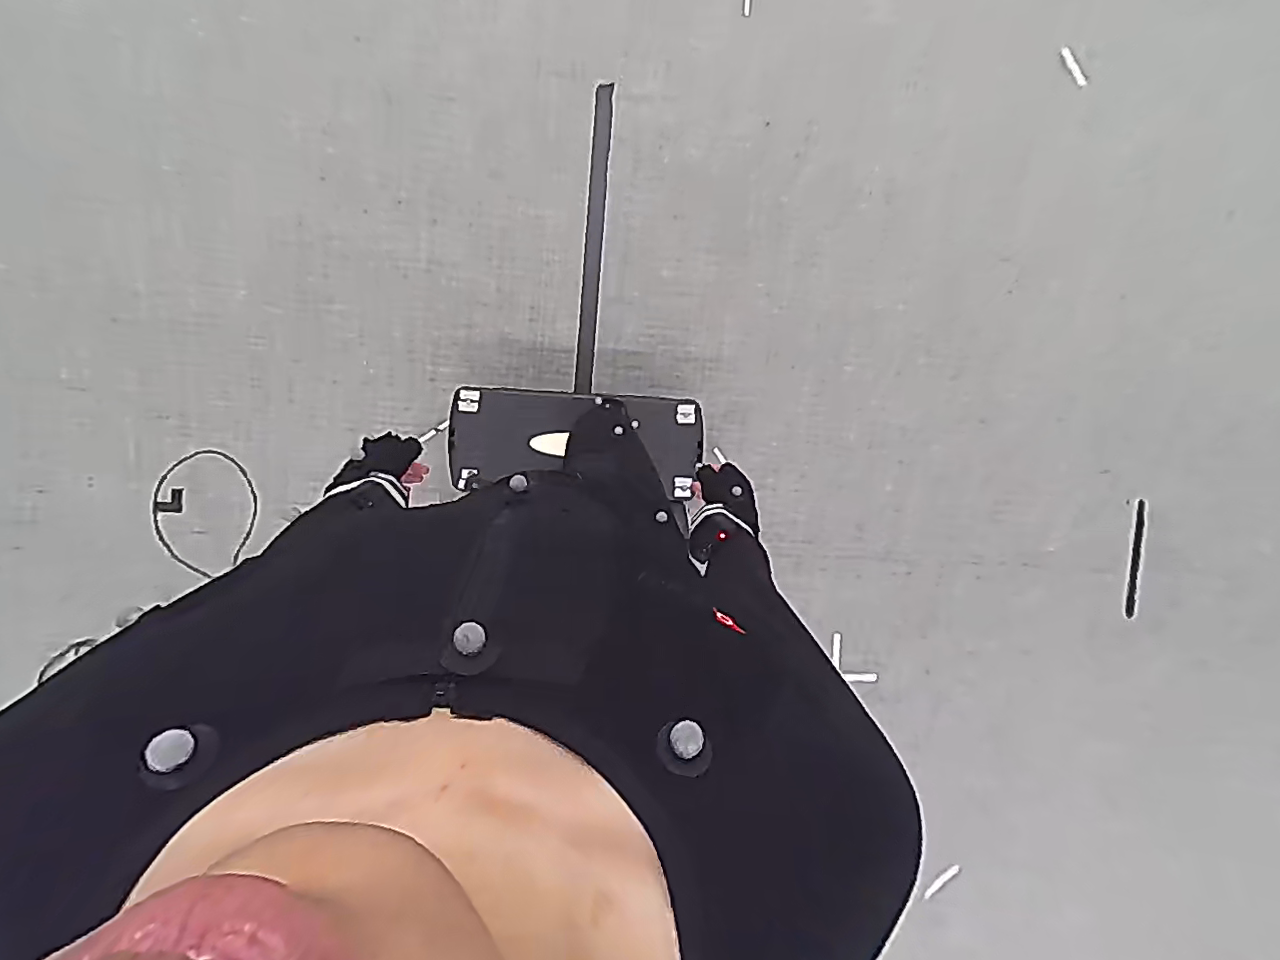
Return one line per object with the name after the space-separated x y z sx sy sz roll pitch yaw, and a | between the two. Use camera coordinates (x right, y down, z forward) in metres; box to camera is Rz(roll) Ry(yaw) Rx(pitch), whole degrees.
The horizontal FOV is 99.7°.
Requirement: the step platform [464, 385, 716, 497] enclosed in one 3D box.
-0.133 -0.106 1.509 0.684 0.204 0.286 2 95 -6 | step platform
